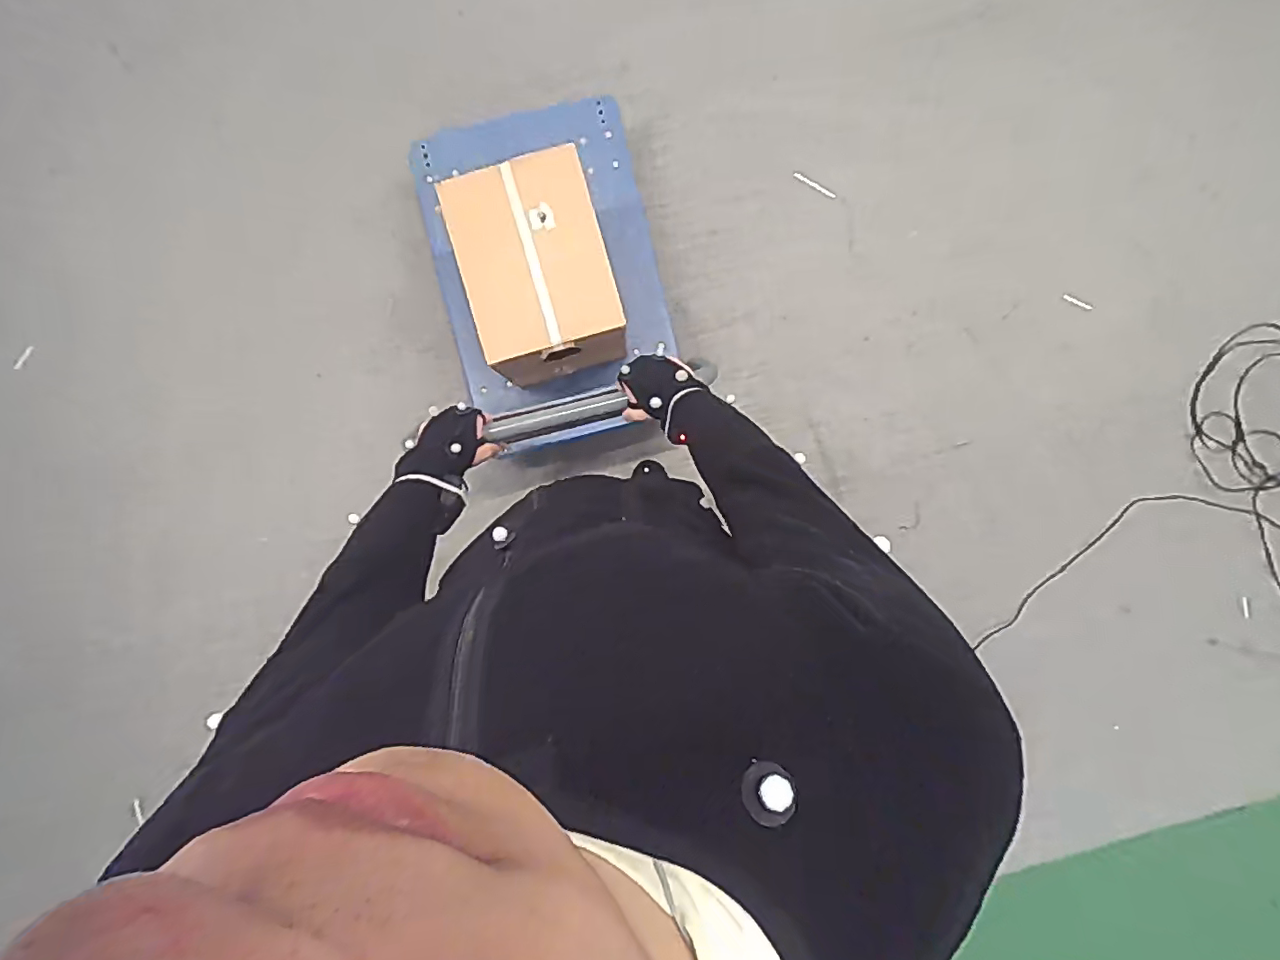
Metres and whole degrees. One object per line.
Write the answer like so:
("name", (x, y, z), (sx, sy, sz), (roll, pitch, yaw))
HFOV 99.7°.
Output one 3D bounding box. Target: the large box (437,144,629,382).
("large box", (-0.231, -0.490, 1.308), (0.320, 0.320, 0.408), (-16, 92, 0))
